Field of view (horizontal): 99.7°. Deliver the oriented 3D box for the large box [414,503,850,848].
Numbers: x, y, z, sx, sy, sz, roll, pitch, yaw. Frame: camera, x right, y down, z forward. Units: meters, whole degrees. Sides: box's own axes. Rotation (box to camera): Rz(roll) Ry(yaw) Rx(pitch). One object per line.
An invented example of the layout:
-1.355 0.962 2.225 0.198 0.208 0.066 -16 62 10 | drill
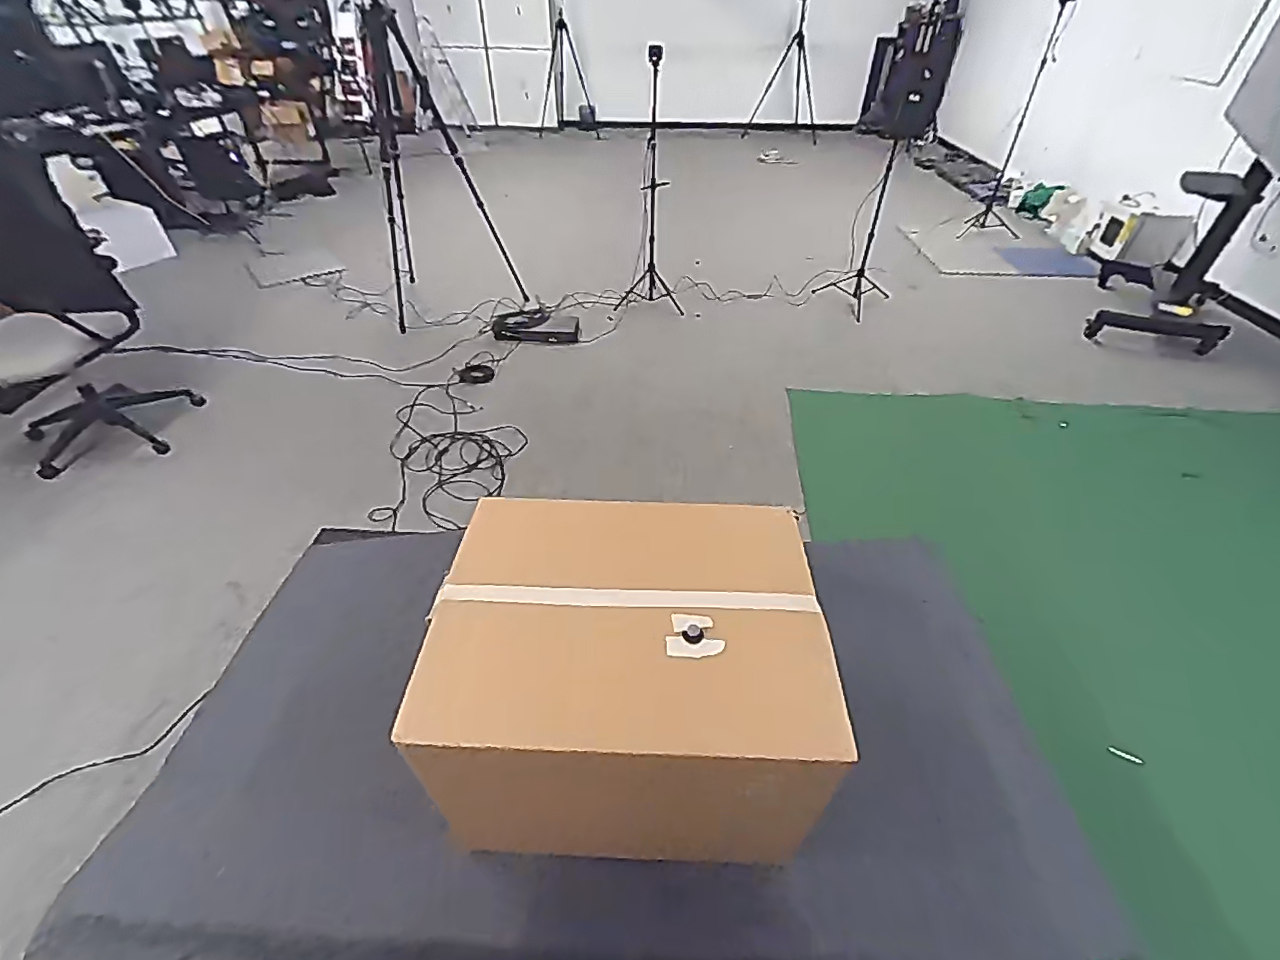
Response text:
-0.008 0.246 0.692 0.408 0.320 0.320 2 42 1 | large box
